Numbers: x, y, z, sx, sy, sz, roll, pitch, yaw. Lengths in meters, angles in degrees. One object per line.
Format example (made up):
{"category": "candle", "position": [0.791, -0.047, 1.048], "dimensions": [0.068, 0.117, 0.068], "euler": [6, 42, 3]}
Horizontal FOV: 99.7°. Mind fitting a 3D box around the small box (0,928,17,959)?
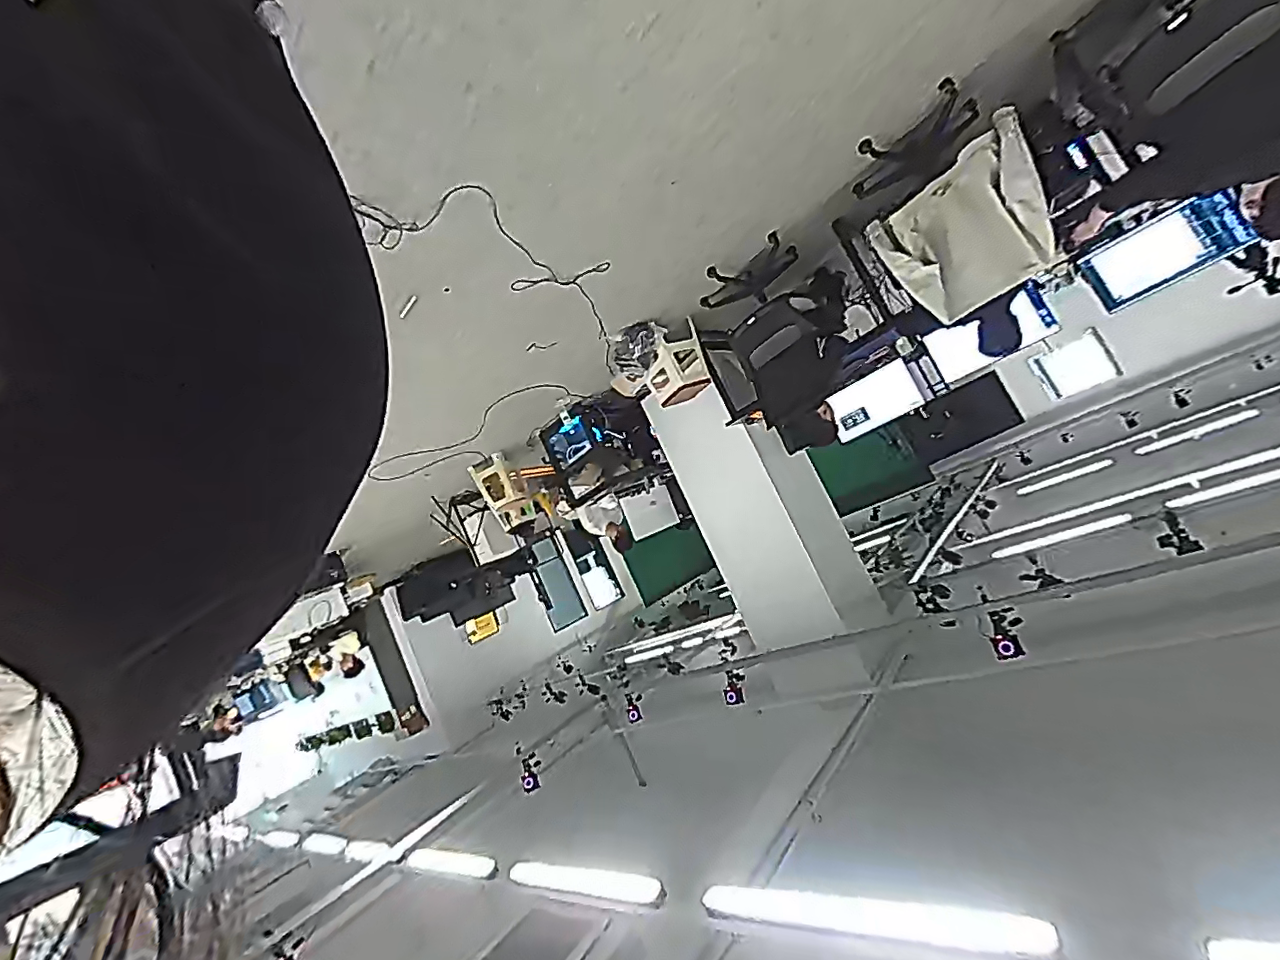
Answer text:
{"category": "small box", "position": [-1.678, 1.262, 1.345], "dimensions": [0.179, 0.176, 0.168], "euler": [-29, 174, 36]}
